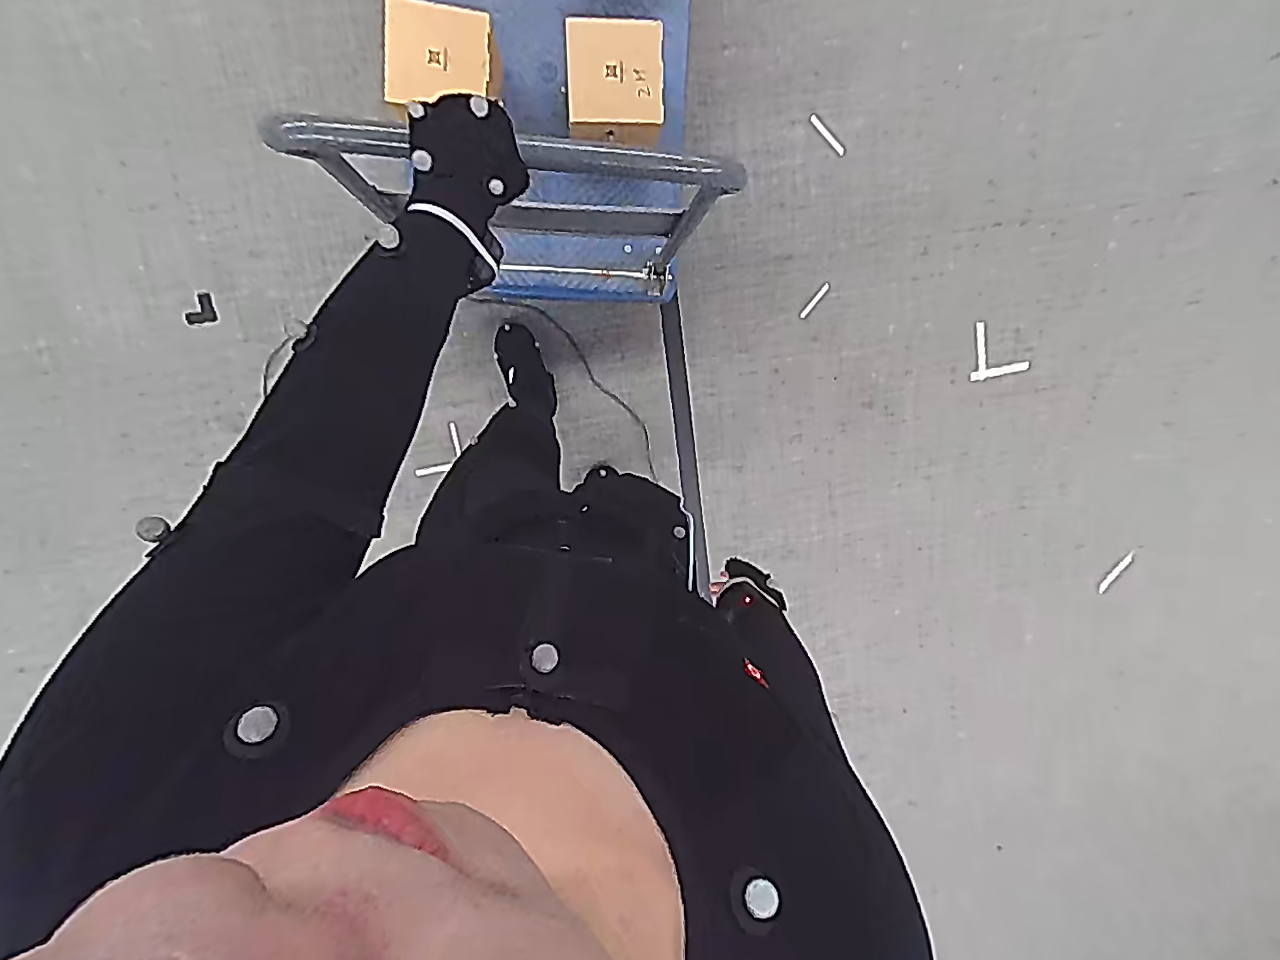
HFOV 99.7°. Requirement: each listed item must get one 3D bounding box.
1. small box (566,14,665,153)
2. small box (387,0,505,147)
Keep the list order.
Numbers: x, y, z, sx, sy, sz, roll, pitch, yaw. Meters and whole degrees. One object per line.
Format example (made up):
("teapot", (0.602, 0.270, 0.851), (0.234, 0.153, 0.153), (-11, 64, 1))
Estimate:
("small box", (-0.048, -0.751, 1.044), (0.179, 0.176, 0.168), (-2, 103, -6))
("small box", (-0.356, -0.751, 1.010), (0.179, 0.176, 0.168), (4, 102, -9))
